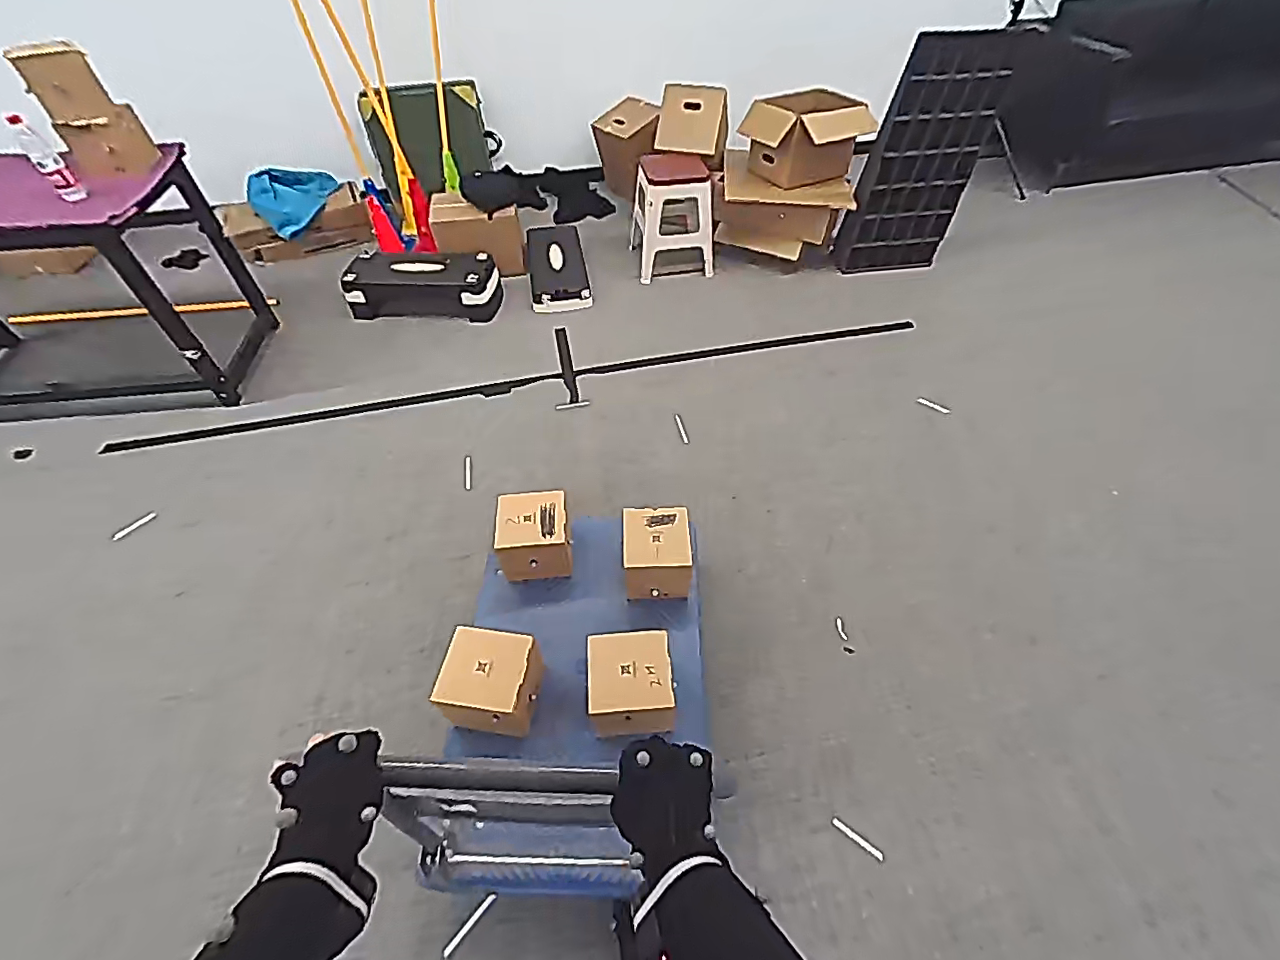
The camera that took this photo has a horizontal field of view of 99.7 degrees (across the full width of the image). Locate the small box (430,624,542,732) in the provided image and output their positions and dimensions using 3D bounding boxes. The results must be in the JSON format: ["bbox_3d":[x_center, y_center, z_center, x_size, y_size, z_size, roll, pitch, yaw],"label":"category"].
[{"bbox_3d":[-0.327,0.438,1.188,0.179,0.176,0.168,7,50,4],"label":"small box"}]

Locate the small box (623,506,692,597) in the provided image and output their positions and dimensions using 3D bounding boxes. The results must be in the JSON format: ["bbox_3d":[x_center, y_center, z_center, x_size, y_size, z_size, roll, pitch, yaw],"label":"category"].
[{"bbox_3d":[0.041,0.186,1.394,0.168,0.176,0.179,-1,52,0],"label":"small box"}]

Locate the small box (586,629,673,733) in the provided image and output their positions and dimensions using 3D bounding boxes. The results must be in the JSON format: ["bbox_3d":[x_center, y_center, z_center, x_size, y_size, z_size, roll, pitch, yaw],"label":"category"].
[{"bbox_3d":[-0.023,0.443,1.182,0.179,0.176,0.168,-3,51,-2],"label":"small box"}]
